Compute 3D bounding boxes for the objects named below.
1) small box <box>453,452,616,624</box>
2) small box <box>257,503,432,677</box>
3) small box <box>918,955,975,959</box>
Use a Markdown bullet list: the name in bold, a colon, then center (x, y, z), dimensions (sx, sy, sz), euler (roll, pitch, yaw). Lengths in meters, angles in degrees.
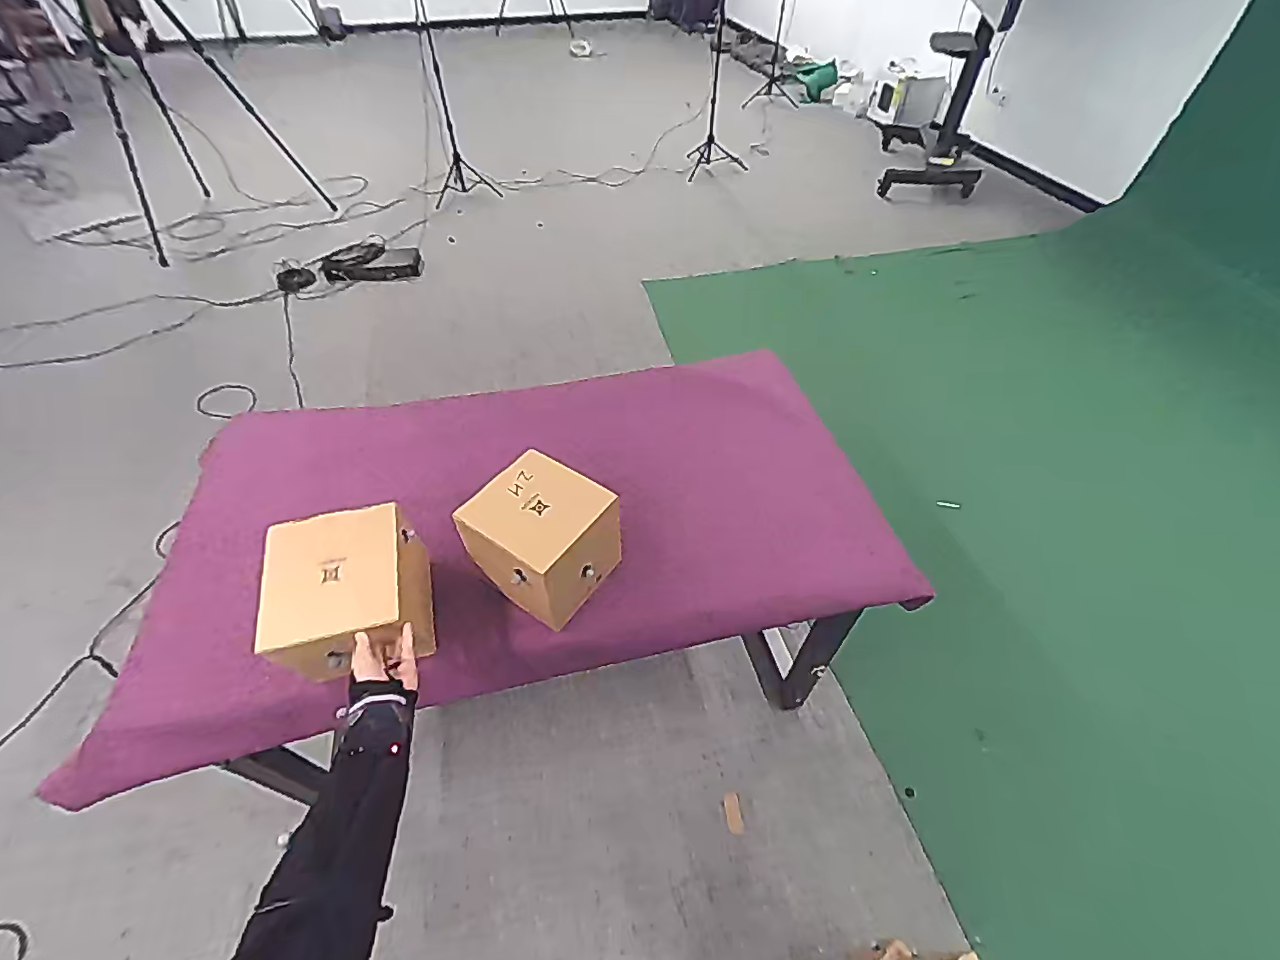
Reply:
- **small box**: center (-0.150, 0.094, 0.832), dimensions (0.179, 0.176, 0.168), euler (28, 53, 23)
- **small box**: center (-0.400, 0.161, 0.763), dimensions (0.168, 0.176, 0.179), euler (-11, 54, -11)
- **small box**: center (0.404, 0.795, 0.752), dimensions (0.168, 0.176, 0.179), euler (-8, 50, -9)
